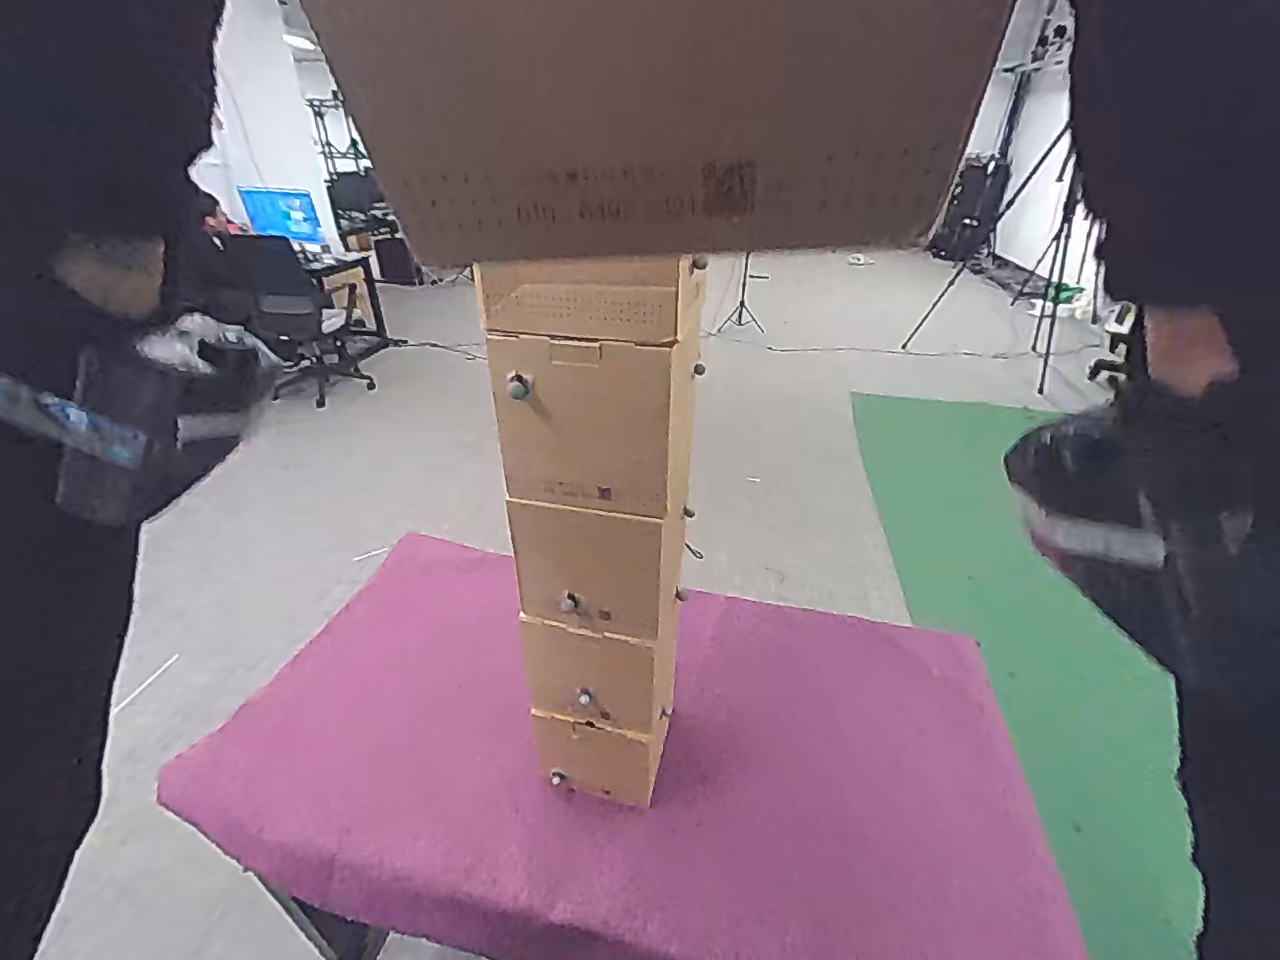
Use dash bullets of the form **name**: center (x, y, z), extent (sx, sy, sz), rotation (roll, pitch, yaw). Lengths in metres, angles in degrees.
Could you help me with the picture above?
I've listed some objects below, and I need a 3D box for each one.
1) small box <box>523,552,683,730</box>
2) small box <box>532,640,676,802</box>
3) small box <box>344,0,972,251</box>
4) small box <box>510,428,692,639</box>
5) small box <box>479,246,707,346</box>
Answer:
- **small box**: center (-0.042, 0.198, 0.731), extent (0.168, 0.176, 0.179), rotation (8, 33, 12)
- **small box**: center (-0.045, 0.342, 0.810), extent (0.168, 0.176, 0.179), rotation (9, 32, 12)
- **small box**: center (0.005, -0.193, 0.172), extent (0.168, 0.176, 0.179), rotation (1, 50, 8)
- **small box**: center (-0.038, 0.057, 0.649), extent (0.168, 0.176, 0.179), rotation (8, 32, 12)
- **small box**: center (-0.035, -0.225, 0.485), extent (0.179, 0.176, 0.168), rotation (8, 31, 11)
